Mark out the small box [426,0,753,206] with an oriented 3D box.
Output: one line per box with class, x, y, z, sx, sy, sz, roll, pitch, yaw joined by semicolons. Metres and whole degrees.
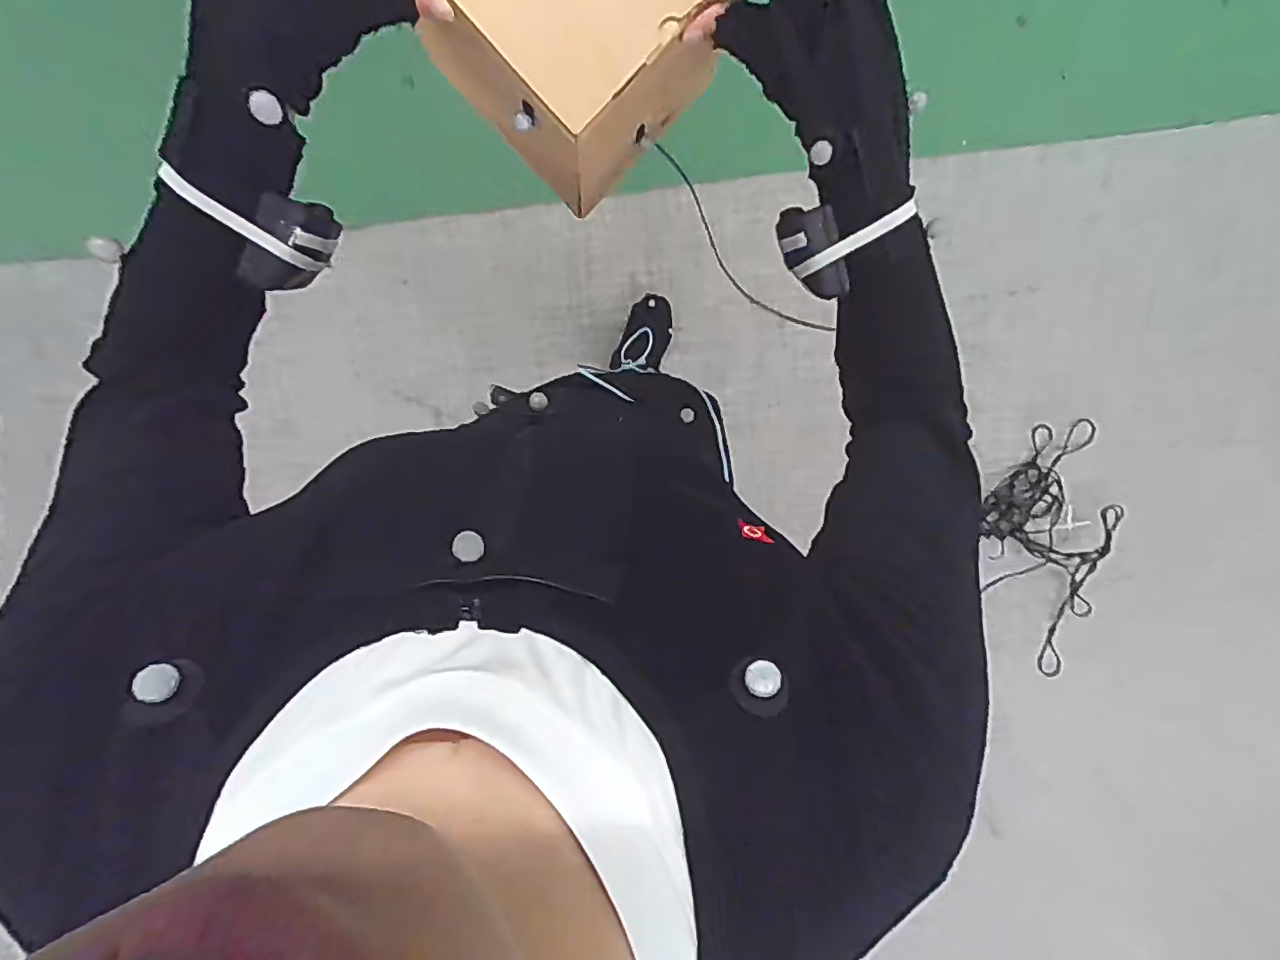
small box;-0.042;-0.339;0.389;0.168;0.176;0.179;-44;102;4
